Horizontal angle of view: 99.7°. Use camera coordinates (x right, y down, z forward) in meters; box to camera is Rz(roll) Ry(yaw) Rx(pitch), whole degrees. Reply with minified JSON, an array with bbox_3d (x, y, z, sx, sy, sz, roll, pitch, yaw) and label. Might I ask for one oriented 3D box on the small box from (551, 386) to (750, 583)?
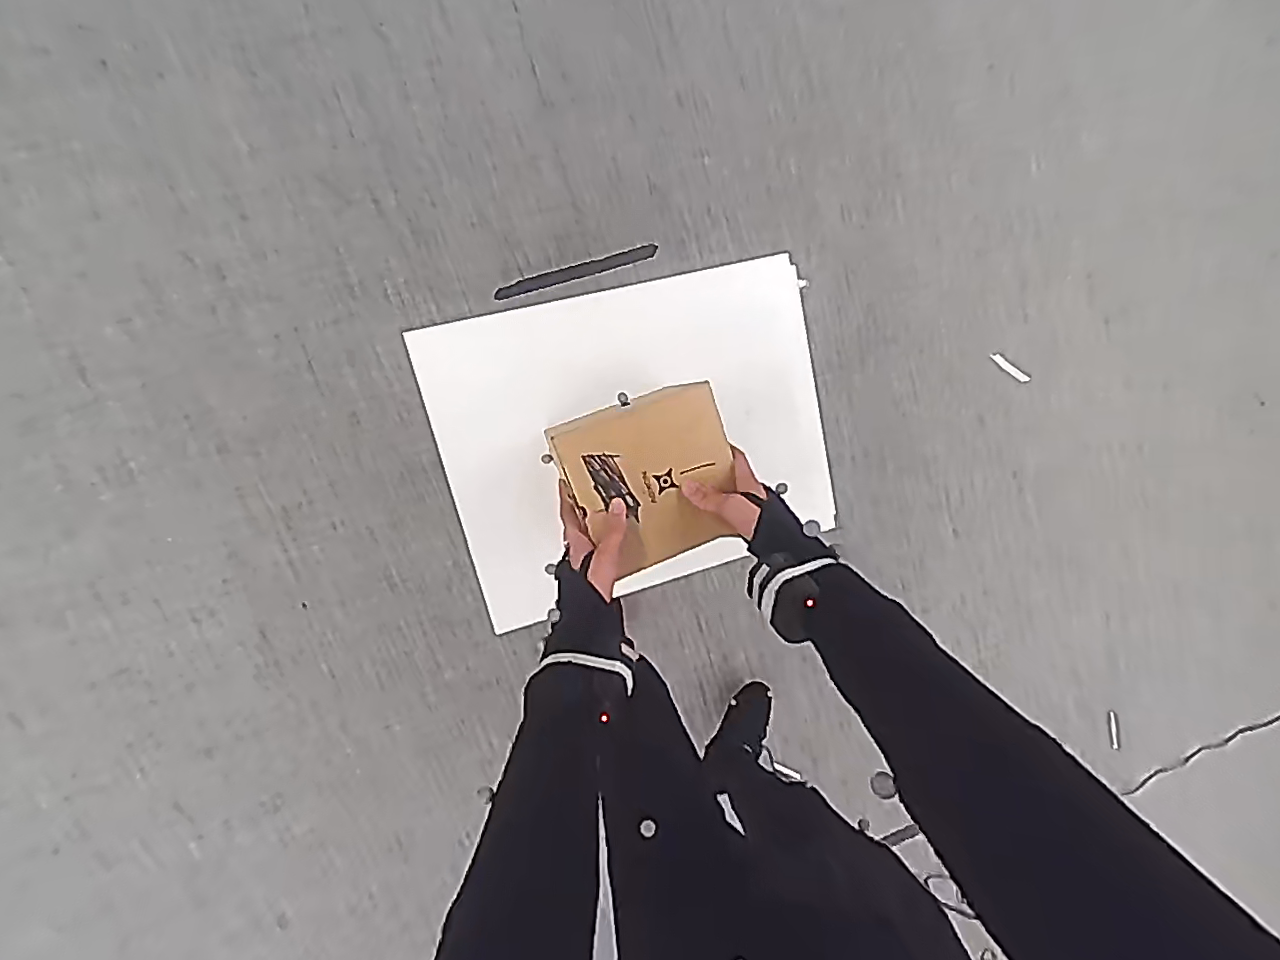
[{"bbox_3d":[0.001,-0.004,0.643,0.179,0.176,0.168,-21,101,-10],"label":"small box"}]
